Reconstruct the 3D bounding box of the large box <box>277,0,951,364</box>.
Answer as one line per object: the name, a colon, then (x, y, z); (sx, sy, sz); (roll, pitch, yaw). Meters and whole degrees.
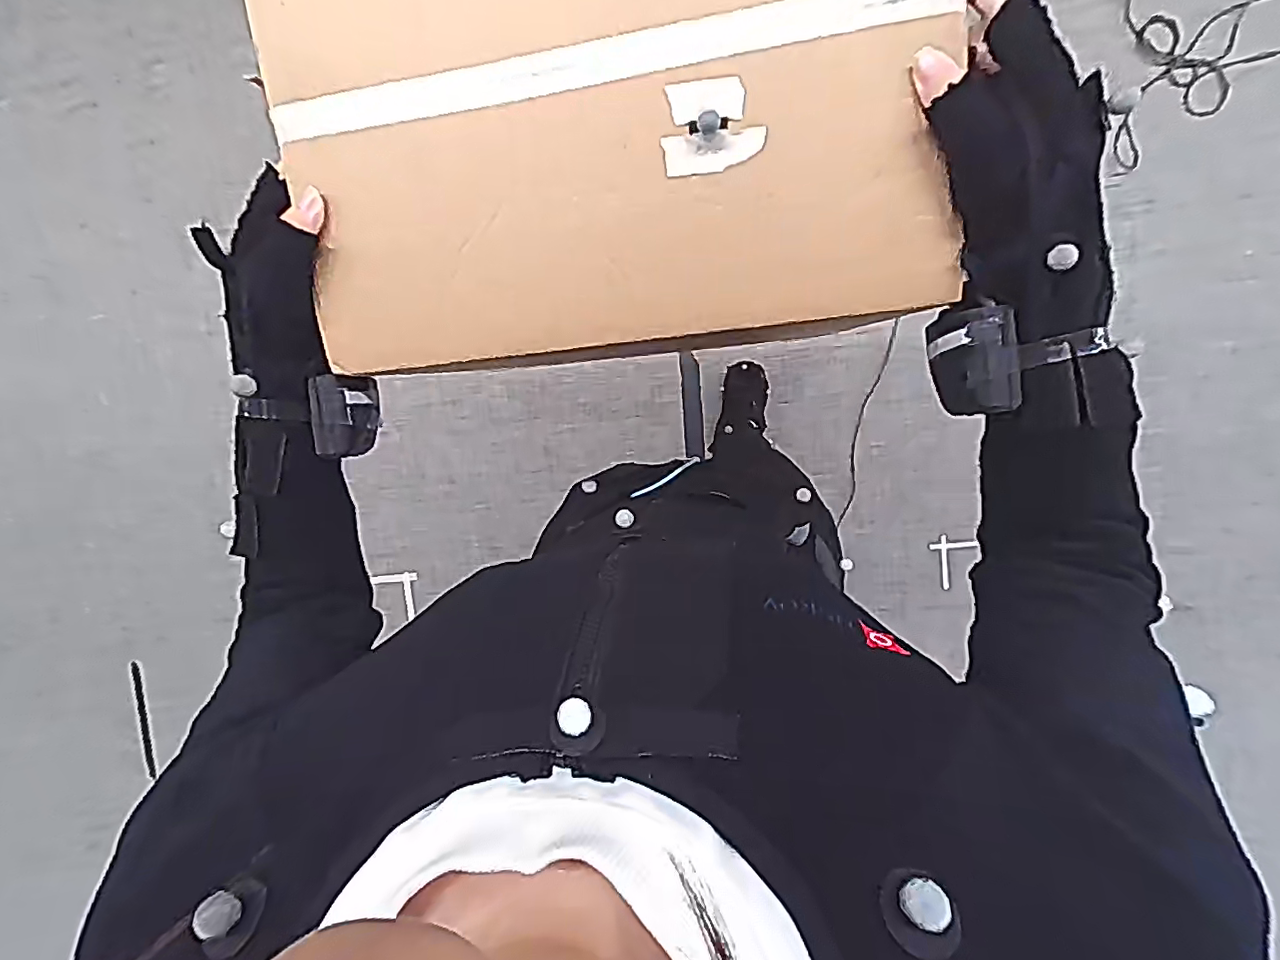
large box: (-0.009, -0.283, 0.471); (0.408, 0.320, 0.320); (-5, 102, 8)
